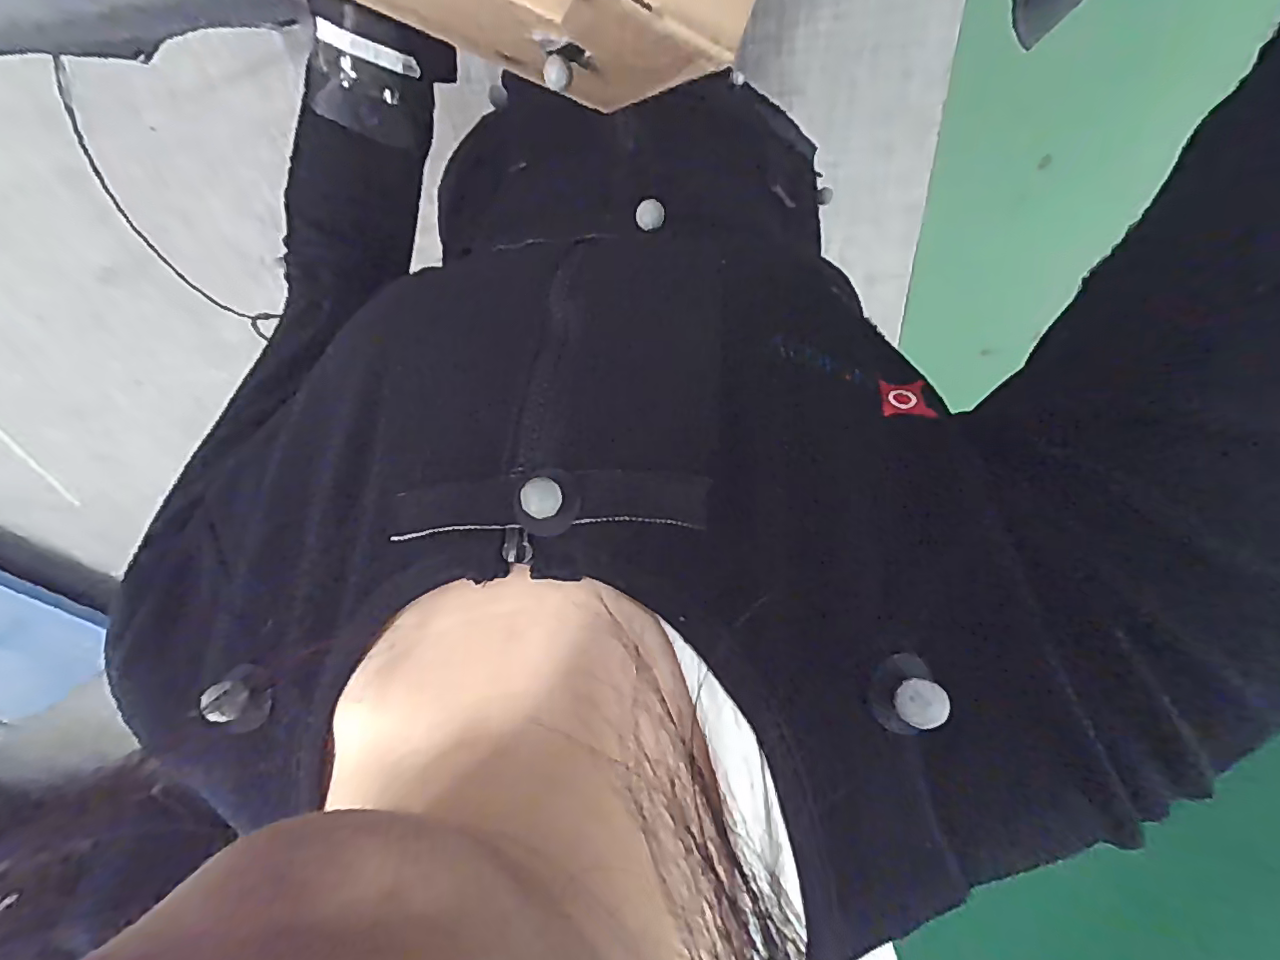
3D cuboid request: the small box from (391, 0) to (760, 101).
[{"bbox_3d":[-0.037,-0.263,0.184,0.168,0.176,0.179,9,113,-26],"label":"small box"}]
